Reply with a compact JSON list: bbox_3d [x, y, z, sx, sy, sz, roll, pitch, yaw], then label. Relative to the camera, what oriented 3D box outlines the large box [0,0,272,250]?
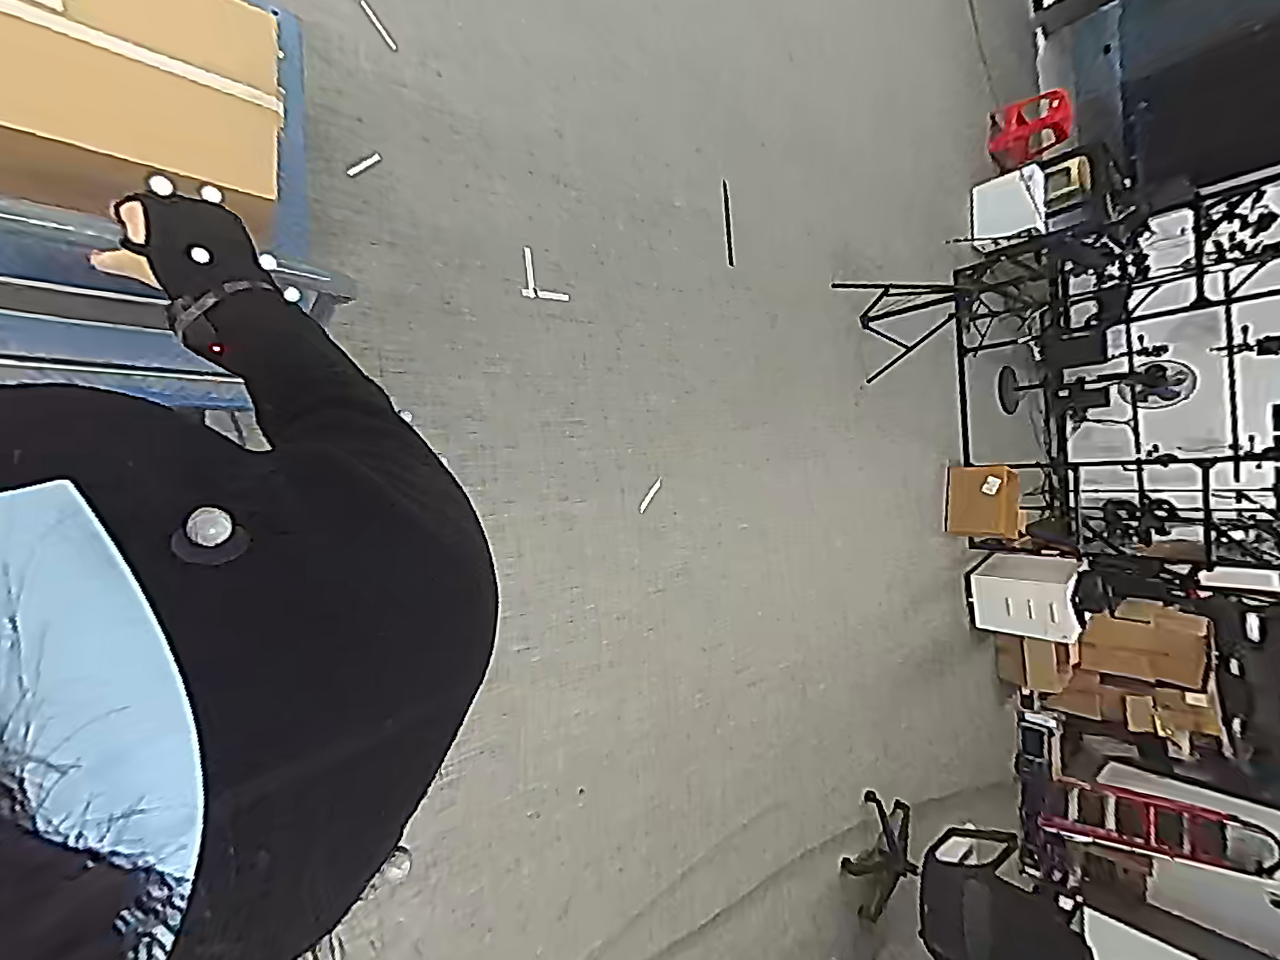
[{"bbox_3d":[-0.863,-0.623,0.892,0.408,0.320,0.320,0,88,-39],"label":"large box"}]
